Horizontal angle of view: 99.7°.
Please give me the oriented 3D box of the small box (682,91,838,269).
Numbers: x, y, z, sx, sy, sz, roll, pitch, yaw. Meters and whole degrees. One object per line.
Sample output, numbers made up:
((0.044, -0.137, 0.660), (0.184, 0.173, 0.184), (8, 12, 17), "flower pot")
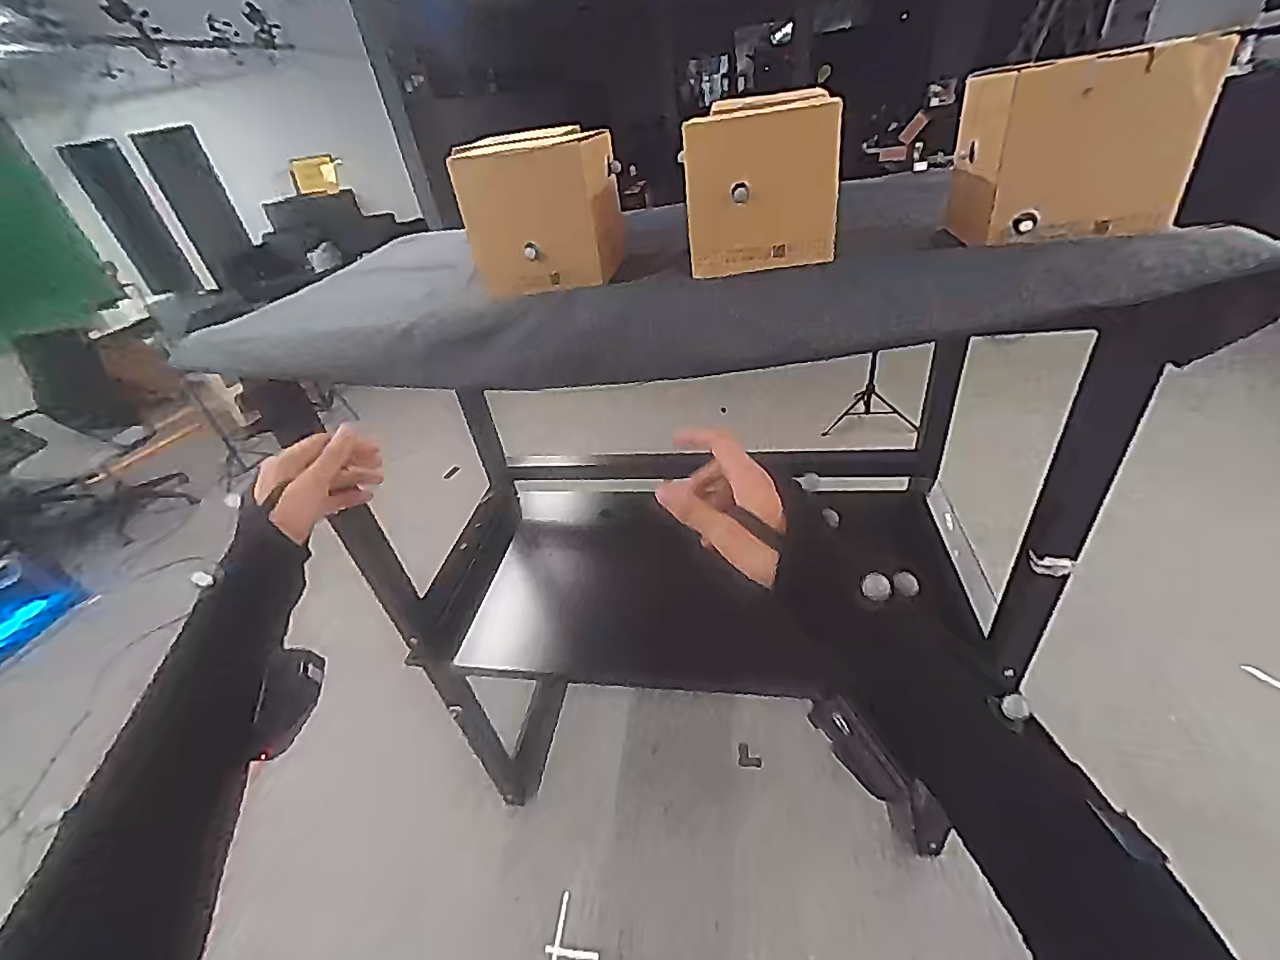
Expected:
((0.149, -0.370, 0.678), (0.168, 0.176, 0.179), (-1, 34, 12), "small box")

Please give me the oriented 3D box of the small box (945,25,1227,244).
((0.453, -0.362, 0.589), (0.168, 0.176, 0.179), (0, 33, 14), "small box")
